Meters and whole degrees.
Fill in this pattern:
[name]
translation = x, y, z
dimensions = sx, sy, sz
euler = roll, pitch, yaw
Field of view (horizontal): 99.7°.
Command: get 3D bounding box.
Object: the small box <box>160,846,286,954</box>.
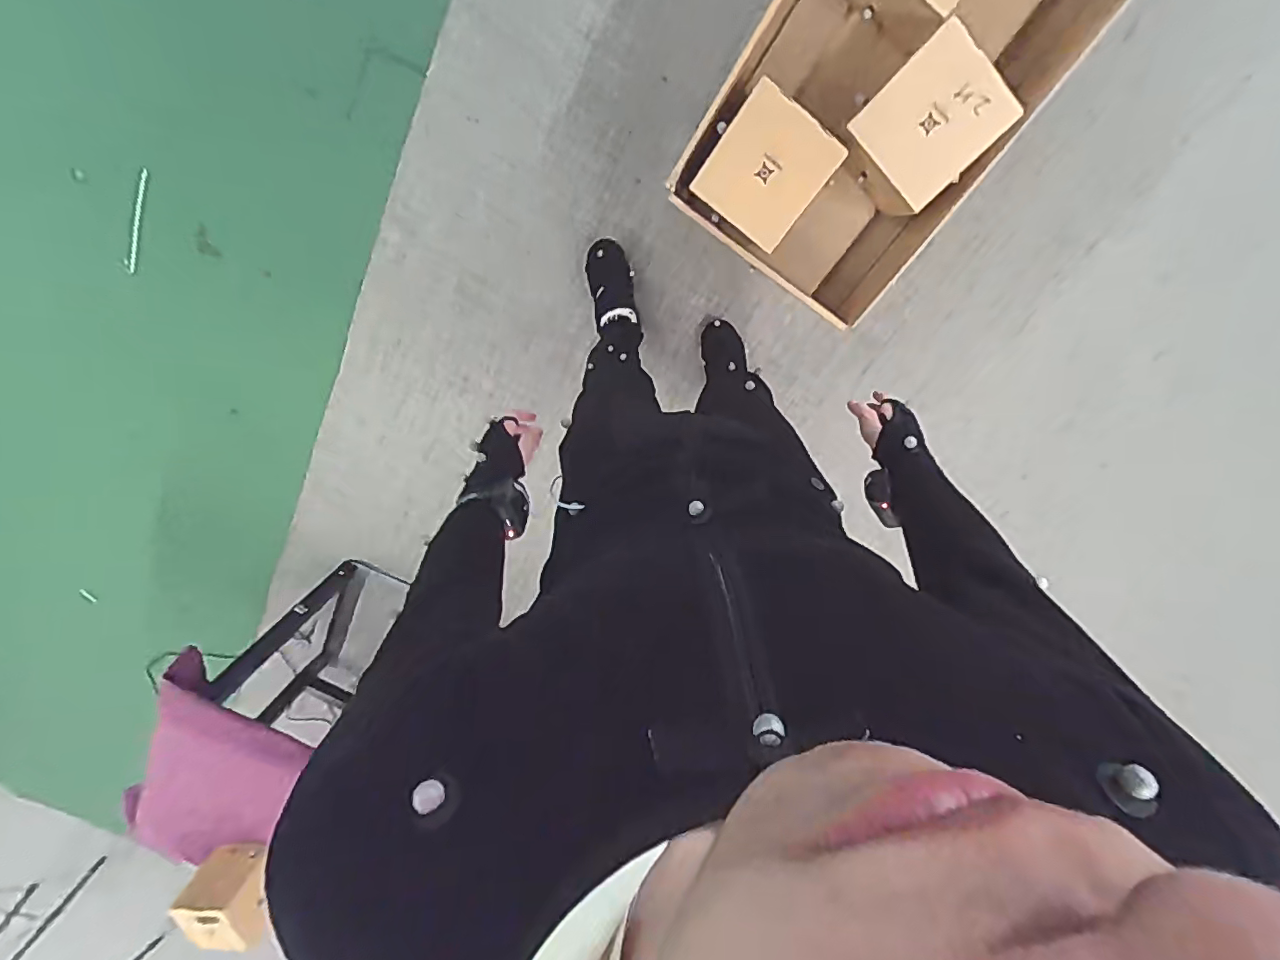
[small box]
translation = -1.093, 1.105, 1.432
dimensions = 0.168, 0.176, 0.179
euler = -4, 113, 9
